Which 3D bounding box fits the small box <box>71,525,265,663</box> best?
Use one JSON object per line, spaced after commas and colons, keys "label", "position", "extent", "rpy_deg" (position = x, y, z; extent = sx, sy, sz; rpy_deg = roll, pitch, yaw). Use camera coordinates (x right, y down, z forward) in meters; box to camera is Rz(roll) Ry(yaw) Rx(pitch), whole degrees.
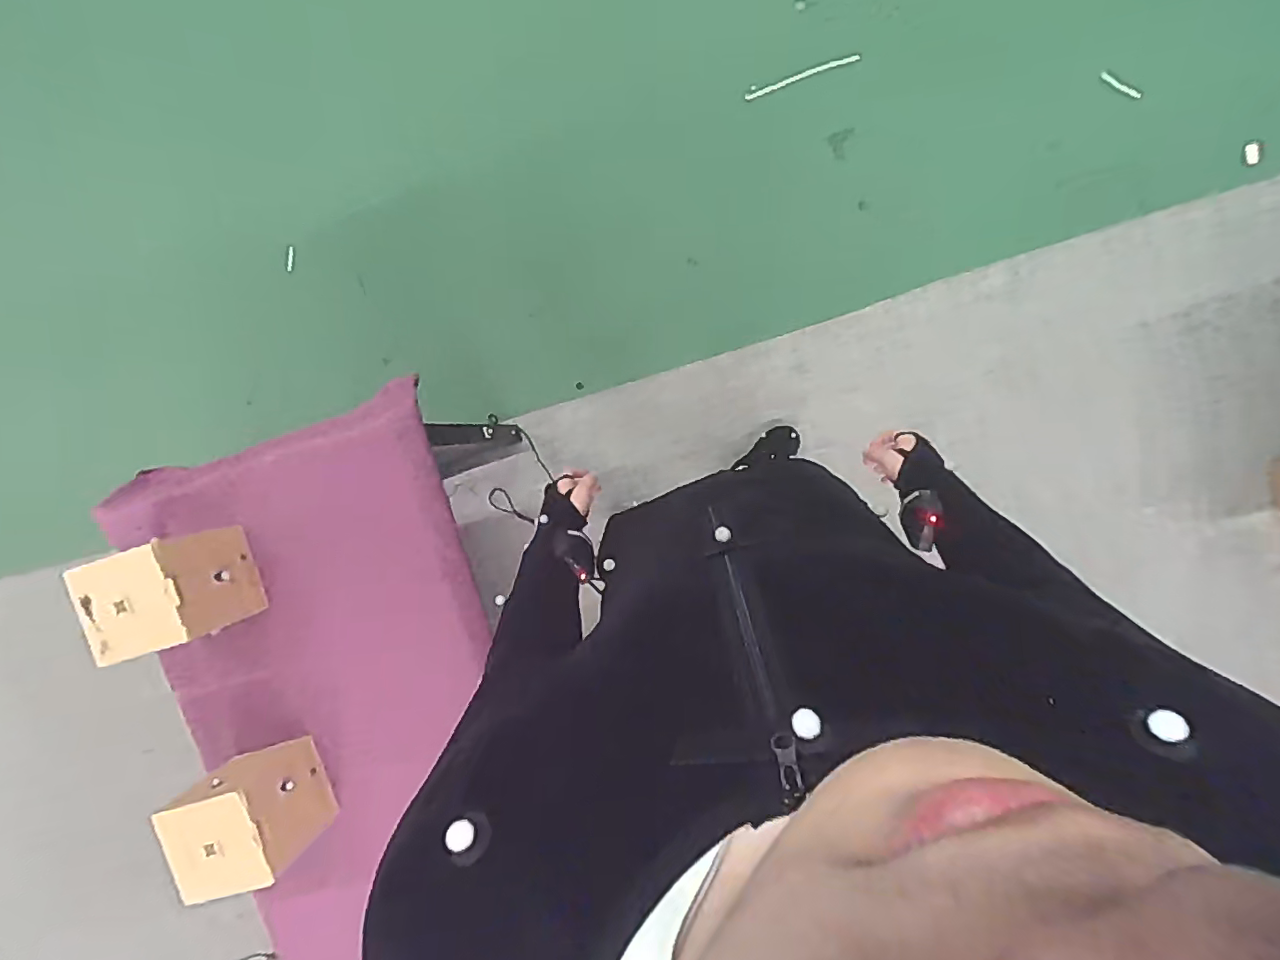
{"label": "small box", "position": [-0.794, 0.187, 0.935], "extent": [0.179, 0.176, 0.168], "rpy_deg": [-17, 93, 7]}

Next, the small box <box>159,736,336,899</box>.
{"label": "small box", "position": [-0.678, 0.586, 0.961], "extent": [0.179, 0.176, 0.168], "rpy_deg": [-18, 93, 8]}
